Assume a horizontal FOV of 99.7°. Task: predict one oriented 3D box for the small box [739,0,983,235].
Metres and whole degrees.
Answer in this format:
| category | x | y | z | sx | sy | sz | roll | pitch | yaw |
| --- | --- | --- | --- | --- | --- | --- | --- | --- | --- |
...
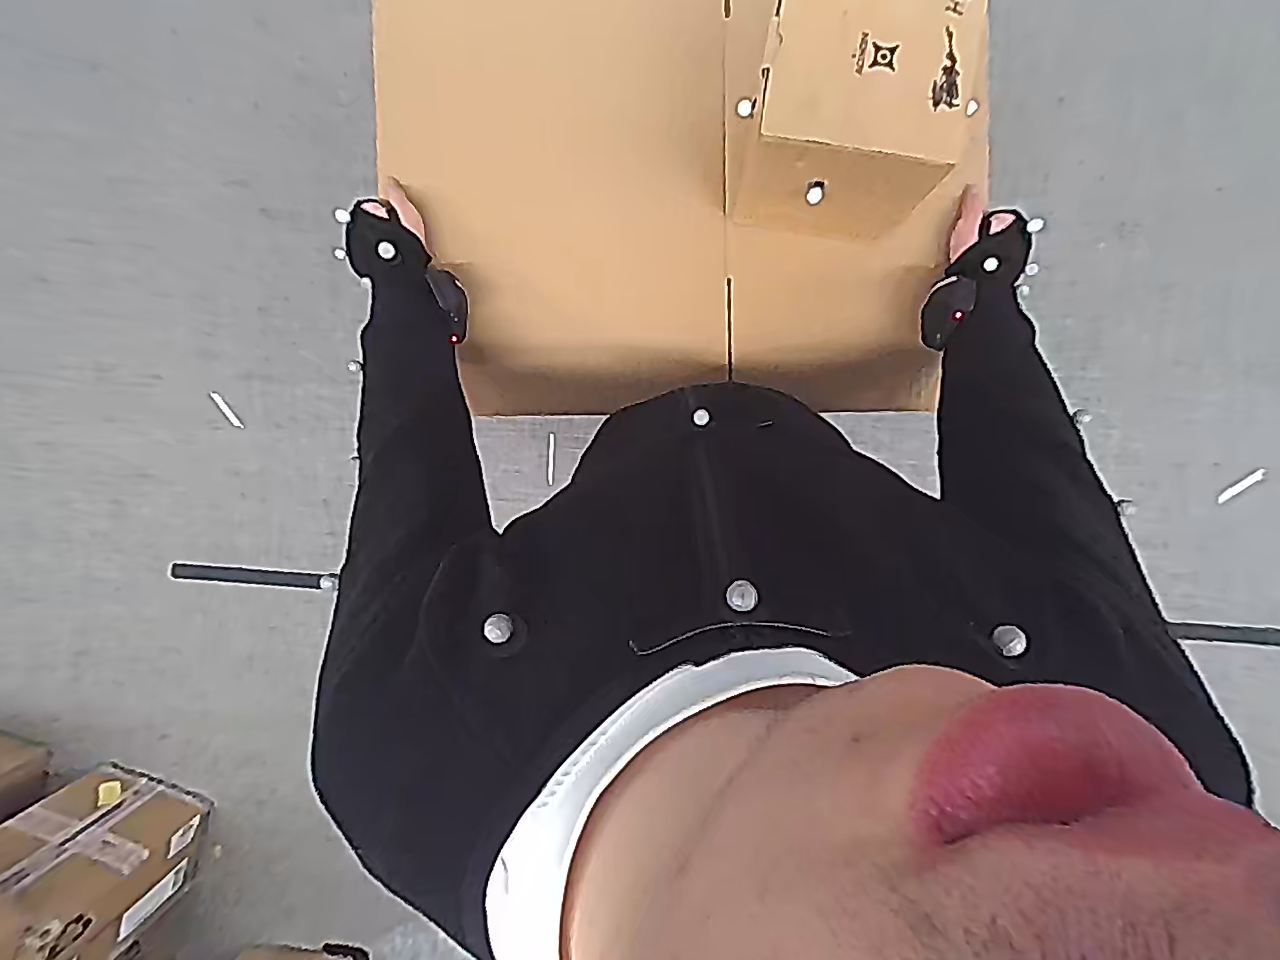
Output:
| category | x | y | z | sx | sy | sz | roll | pitch | yaw |
| --- | --- | --- | --- | --- | --- | --- | --- | --- | --- |
| small box | 0.205 | -0.372 | 0.550 | 0.179 | 0.176 | 0.168 | 9 | 92 | 3 |
